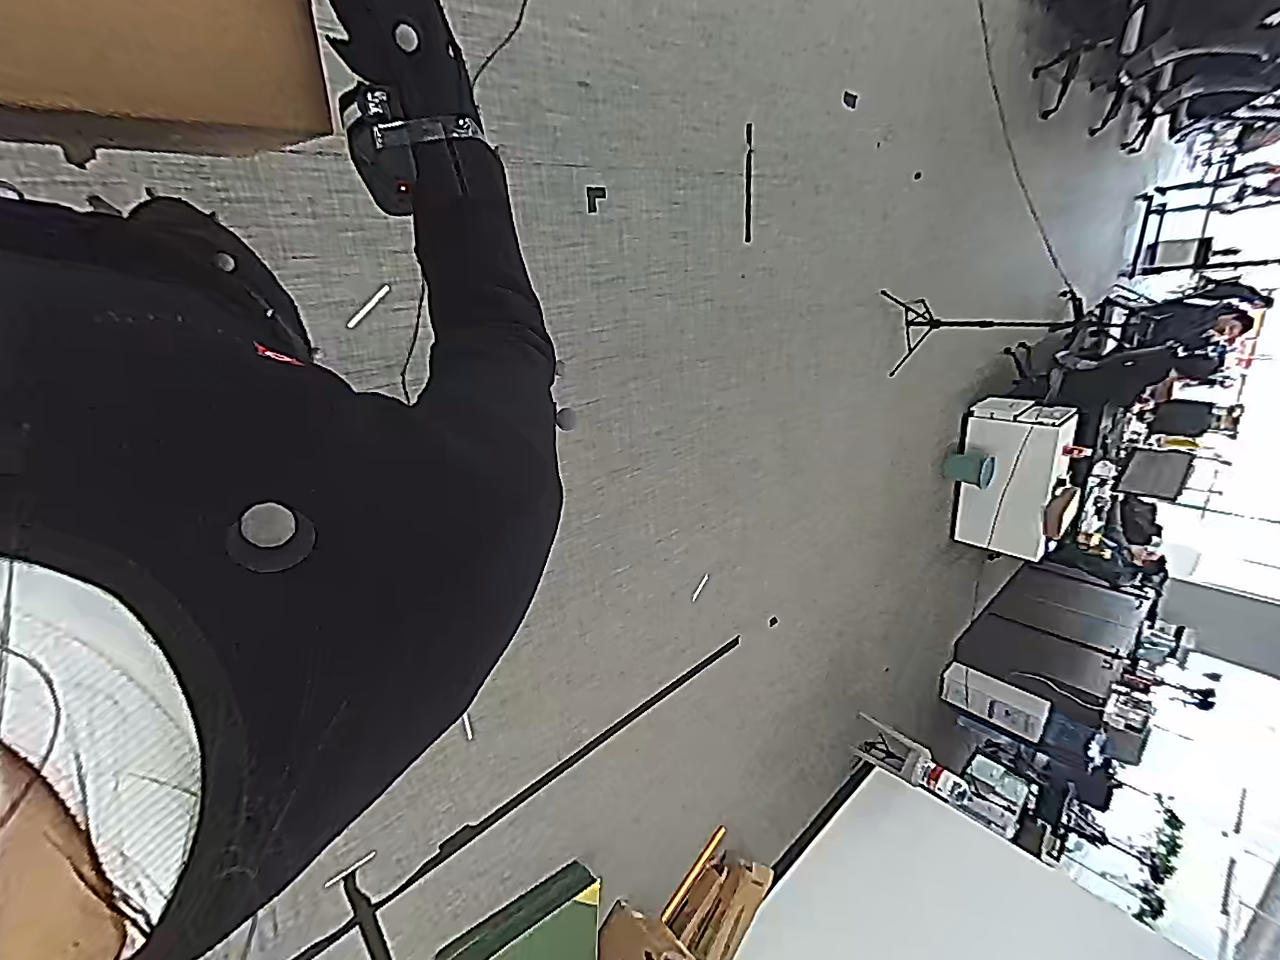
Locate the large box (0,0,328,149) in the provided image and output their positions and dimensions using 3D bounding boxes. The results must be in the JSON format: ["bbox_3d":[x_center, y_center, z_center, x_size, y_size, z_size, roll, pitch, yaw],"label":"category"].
[{"bbox_3d":[-0.462,-0.373,0.288,0.408,0.320,0.320,-22,126,-37],"label":"large box"}]
